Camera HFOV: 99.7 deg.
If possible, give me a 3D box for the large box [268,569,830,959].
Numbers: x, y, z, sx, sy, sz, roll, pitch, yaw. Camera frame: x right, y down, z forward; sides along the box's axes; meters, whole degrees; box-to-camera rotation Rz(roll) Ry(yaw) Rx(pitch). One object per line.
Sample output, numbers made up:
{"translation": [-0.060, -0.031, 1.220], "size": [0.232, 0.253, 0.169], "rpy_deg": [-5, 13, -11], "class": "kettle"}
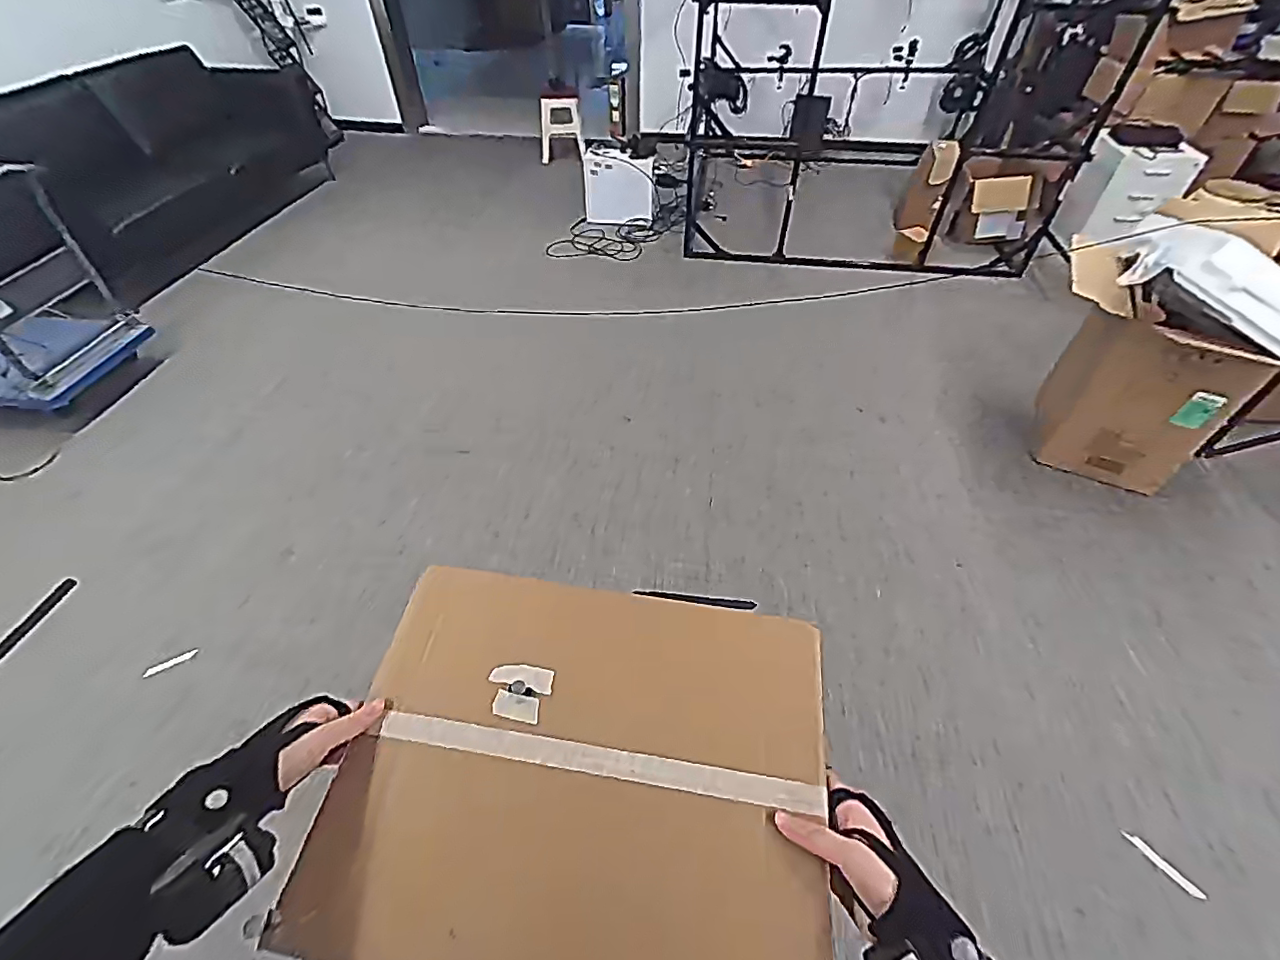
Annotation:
{"translation": [-0.043, 0.322, 0.569], "size": [0.408, 0.320, 0.320], "rpy_deg": [7, 53, 8], "class": "large box"}
